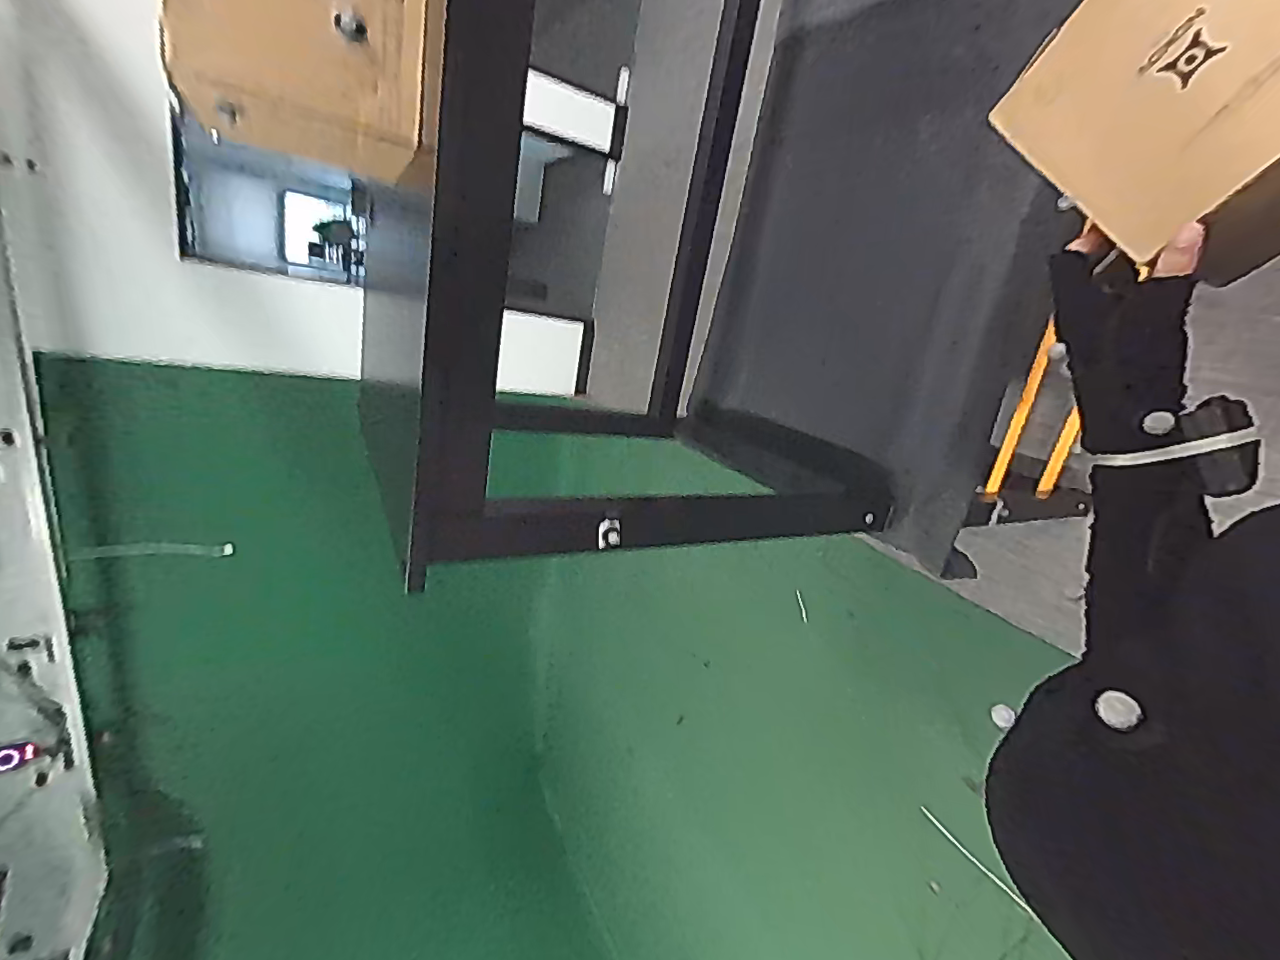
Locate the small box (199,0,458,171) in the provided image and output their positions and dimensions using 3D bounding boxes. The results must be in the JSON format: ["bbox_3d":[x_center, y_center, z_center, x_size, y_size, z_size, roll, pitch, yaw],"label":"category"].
[{"bbox_3d":[-0.263,-0.392,0.470,0.179,0.176,0.168,30,115,55],"label":"small box"}]
